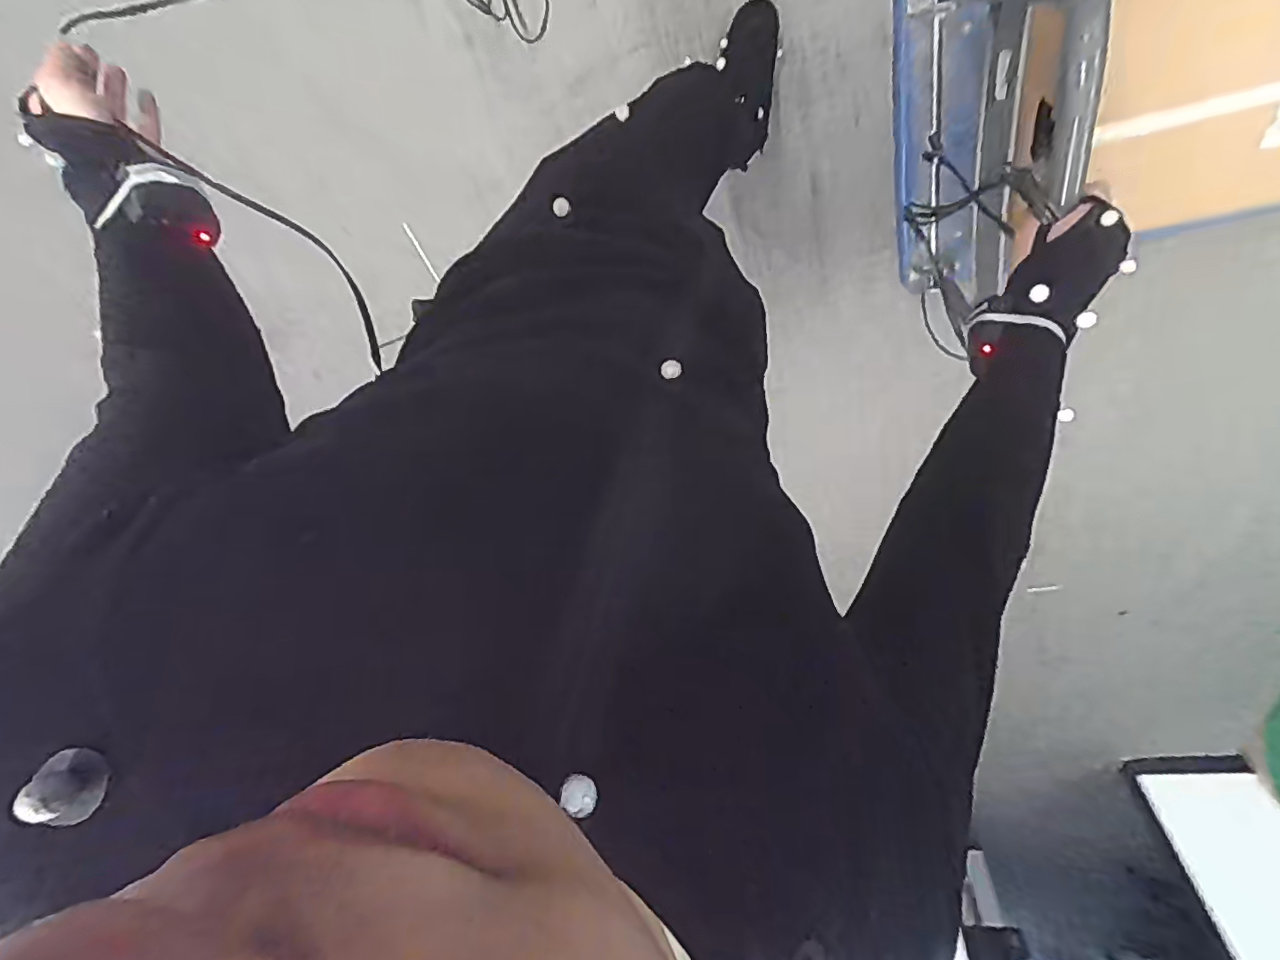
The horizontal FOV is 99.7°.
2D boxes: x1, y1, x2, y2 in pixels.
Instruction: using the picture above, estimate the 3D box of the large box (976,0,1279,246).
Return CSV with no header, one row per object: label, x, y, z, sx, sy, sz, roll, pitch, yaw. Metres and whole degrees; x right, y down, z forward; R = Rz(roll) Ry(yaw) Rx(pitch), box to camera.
large box,0.805,-0.609,0.841,0.408,0.320,0.320,-7,129,15
